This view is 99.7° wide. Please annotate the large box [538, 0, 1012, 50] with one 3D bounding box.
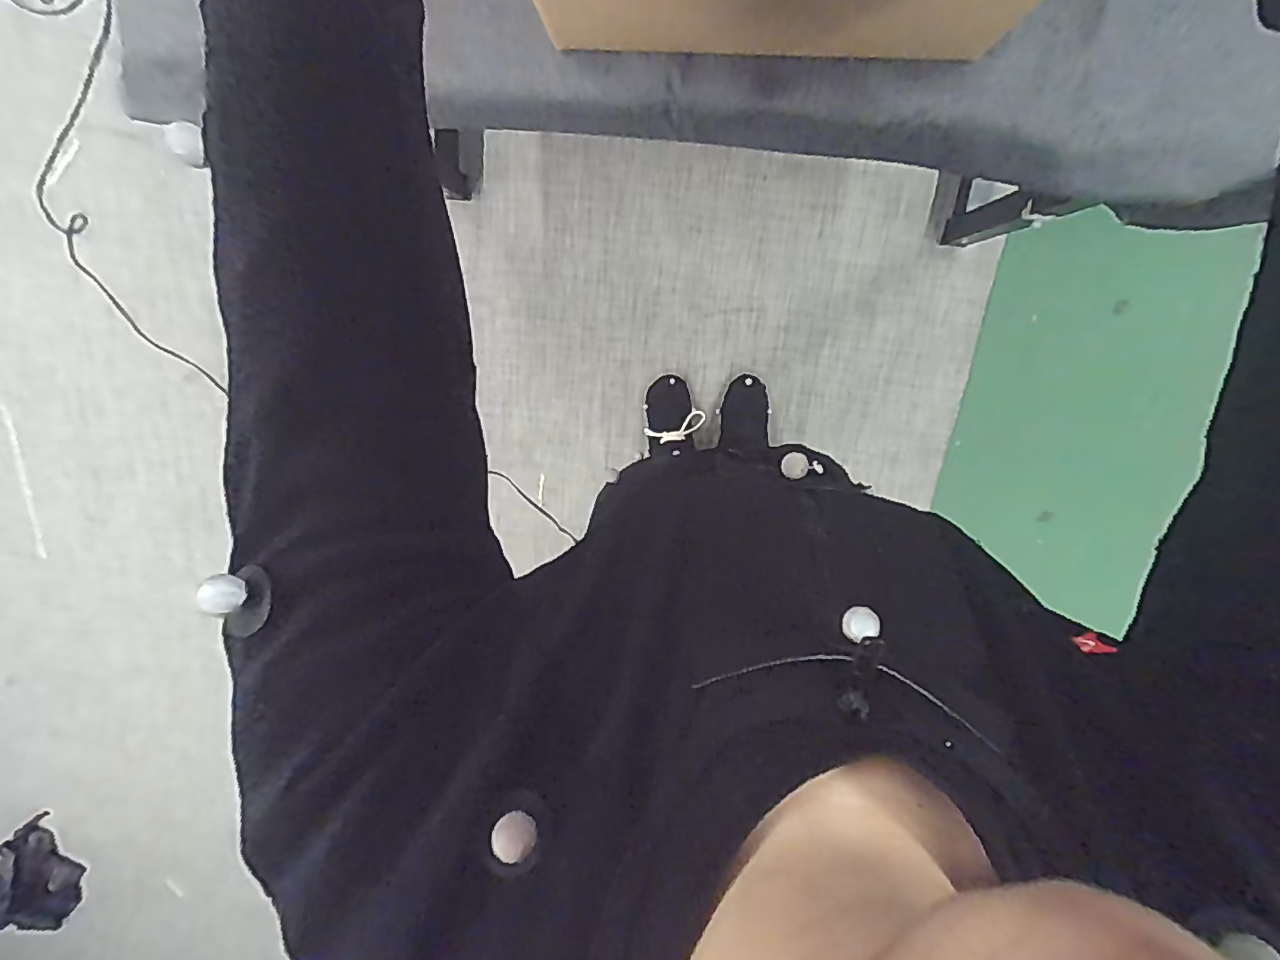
[{"bbox_3d":[0.107,-0.521,0.335,0.408,0.320,0.320,3,106,3],"label":"large box"}]
